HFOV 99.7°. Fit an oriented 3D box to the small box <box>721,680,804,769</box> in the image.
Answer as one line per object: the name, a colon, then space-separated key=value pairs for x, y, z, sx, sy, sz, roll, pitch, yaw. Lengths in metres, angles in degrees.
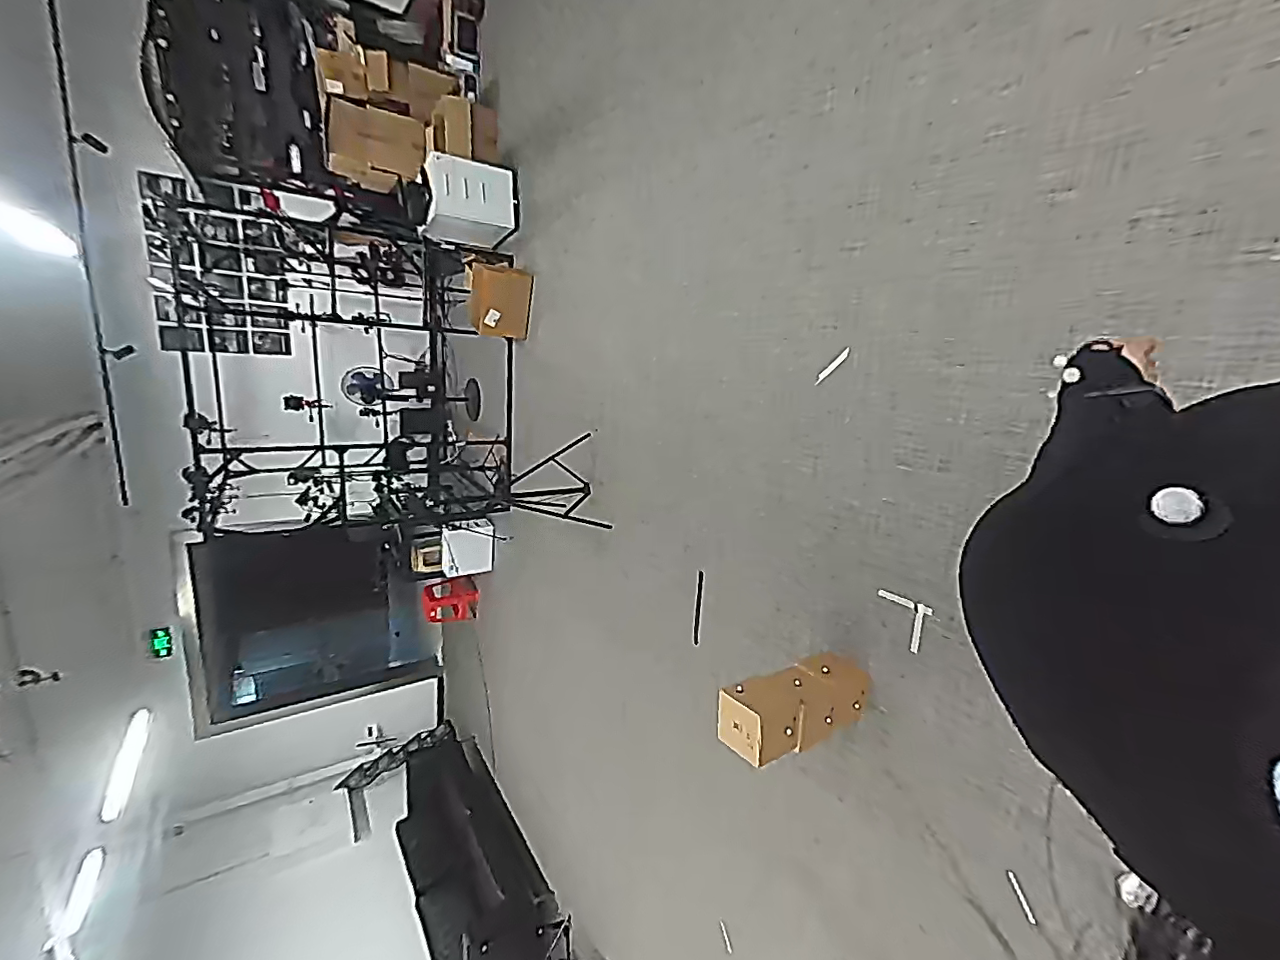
small box: x=0.366 y=0.723 z=1.626 sx=0.179 sy=0.176 sz=0.168 roll=13 pitch=106 yaw=54

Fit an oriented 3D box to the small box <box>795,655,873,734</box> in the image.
small box: x=0.643 y=0.705 z=1.803 sx=0.179 sy=0.176 sz=0.168 roll=20 pitch=110 yaw=54
